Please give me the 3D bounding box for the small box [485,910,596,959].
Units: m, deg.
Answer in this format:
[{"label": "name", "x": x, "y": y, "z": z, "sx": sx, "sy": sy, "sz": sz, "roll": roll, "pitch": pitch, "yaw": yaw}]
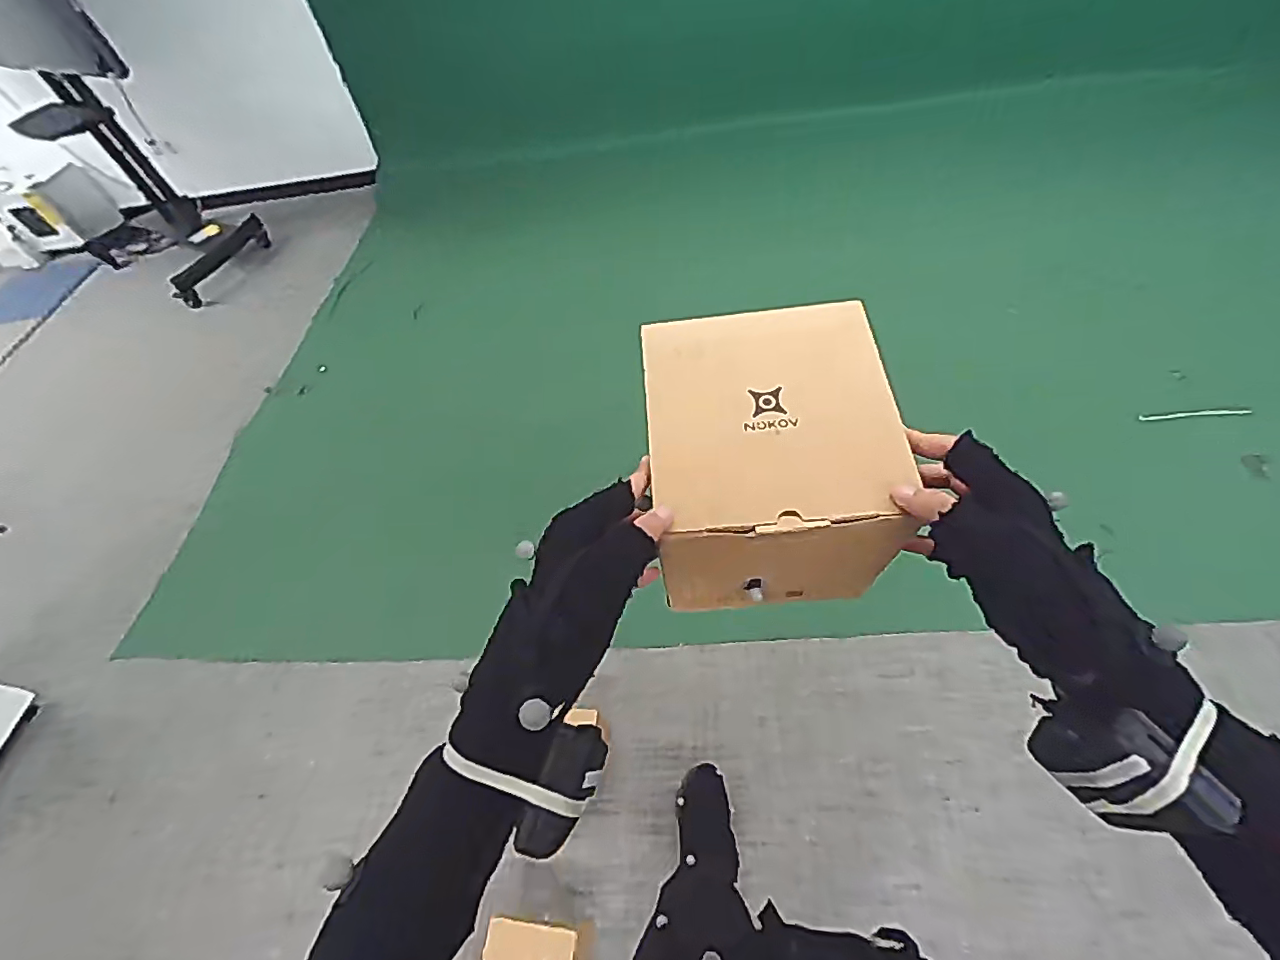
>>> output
[{"label": "small box", "x": -0.193, "y": 0.948, "z": 1.044, "sx": 0.179, "sy": 0.176, "sz": 0.168, "roll": 1, "pitch": 54, "yaw": 11}]
